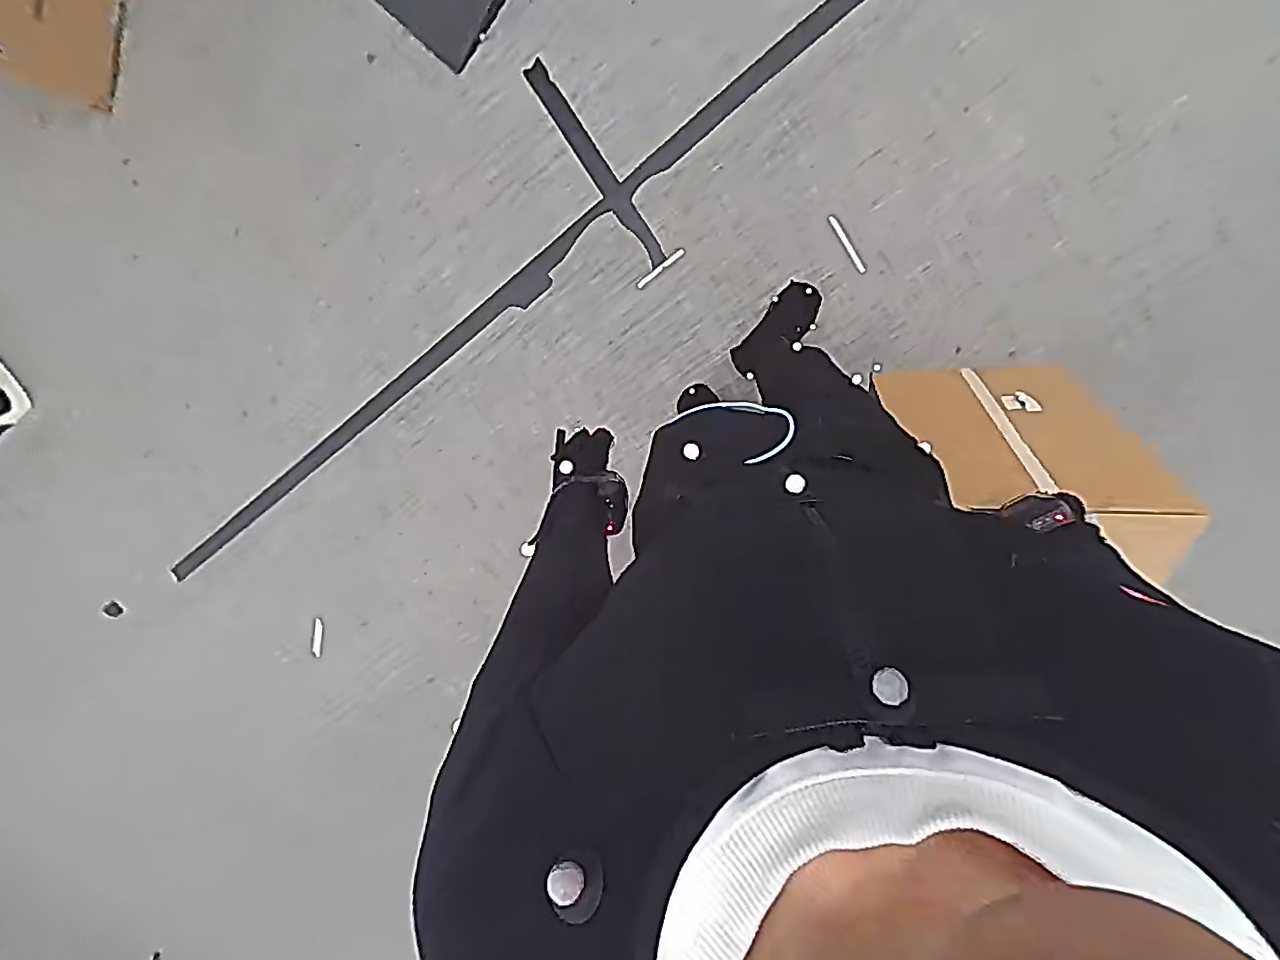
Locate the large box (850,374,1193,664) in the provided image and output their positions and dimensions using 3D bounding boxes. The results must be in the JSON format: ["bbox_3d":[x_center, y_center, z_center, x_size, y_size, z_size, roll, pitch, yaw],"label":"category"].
[{"bbox_3d":[0.560,0.048,0.914,0.320,0.408,0.320,1,125,10],"label":"large box"}]
